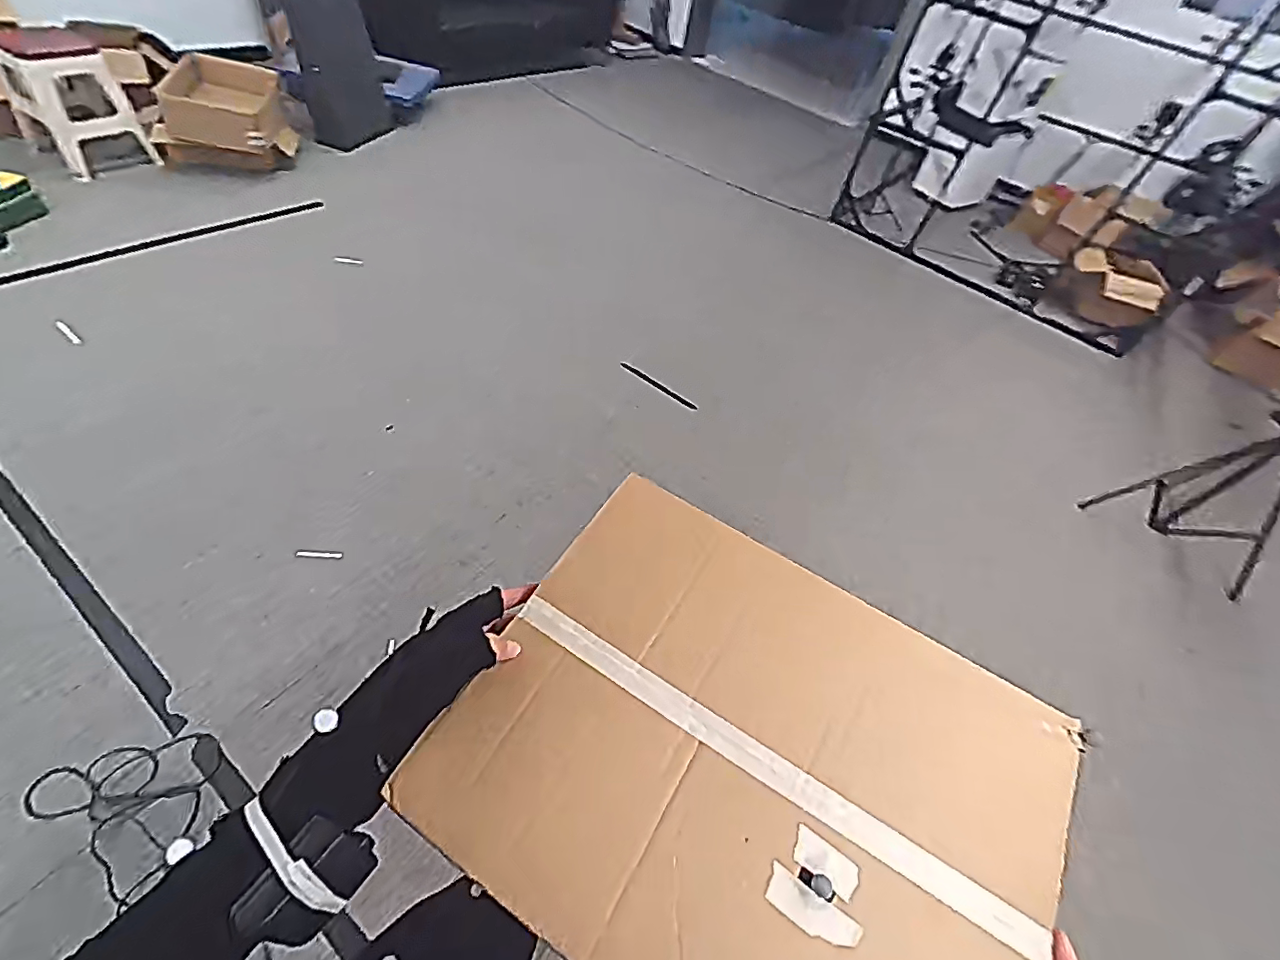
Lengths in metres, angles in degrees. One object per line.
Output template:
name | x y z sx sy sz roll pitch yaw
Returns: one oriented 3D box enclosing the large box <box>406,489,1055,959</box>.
large box | 0.071 0.283 0.523 0.408 0.320 0.320 30 60 14
